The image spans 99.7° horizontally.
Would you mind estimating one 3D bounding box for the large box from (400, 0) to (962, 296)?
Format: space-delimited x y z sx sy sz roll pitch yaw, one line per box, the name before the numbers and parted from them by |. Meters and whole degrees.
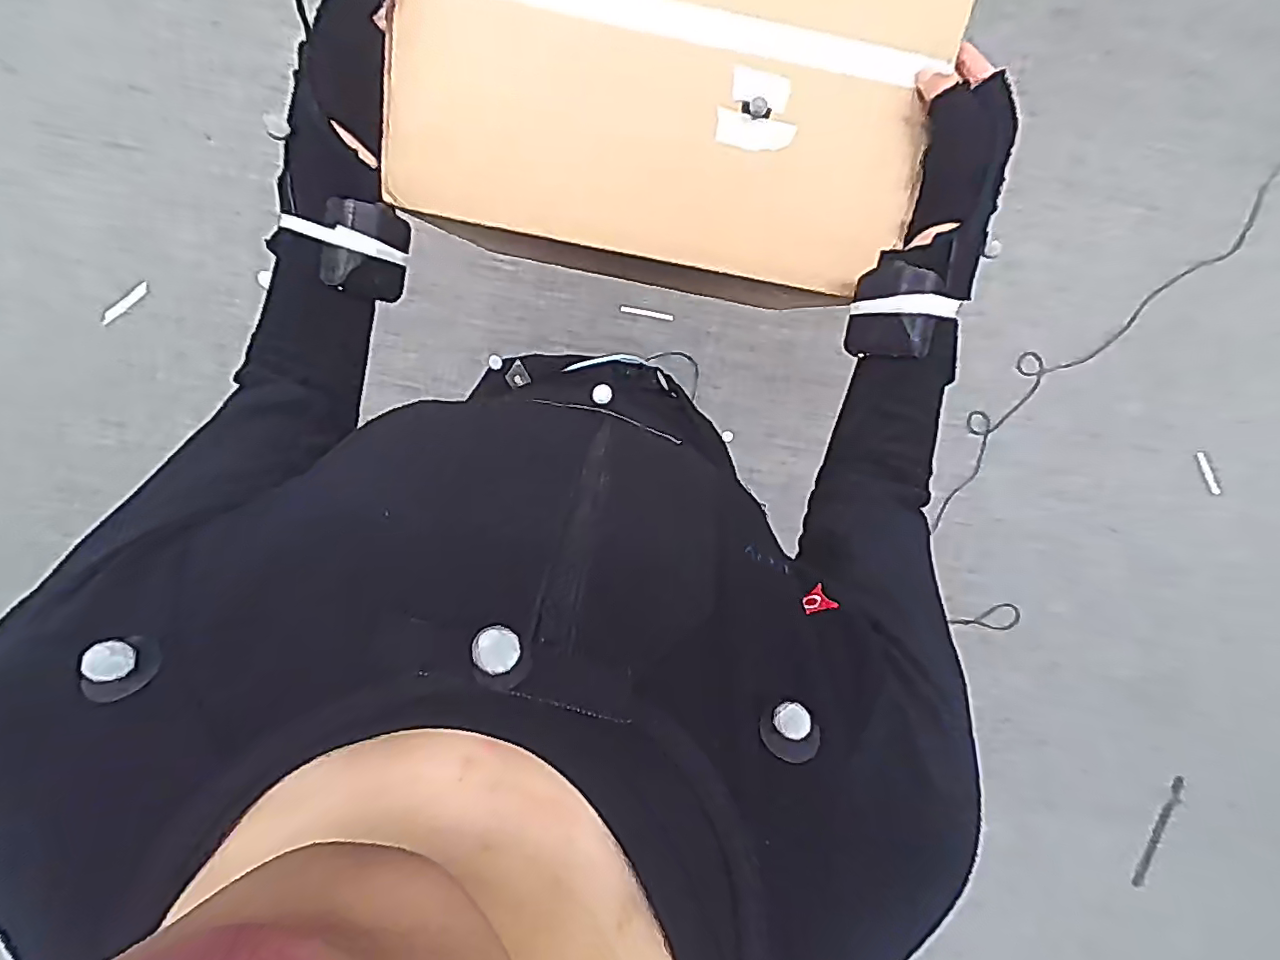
large box | 0.024 -0.378 0.536 0.408 0.320 0.320 9 107 -5
